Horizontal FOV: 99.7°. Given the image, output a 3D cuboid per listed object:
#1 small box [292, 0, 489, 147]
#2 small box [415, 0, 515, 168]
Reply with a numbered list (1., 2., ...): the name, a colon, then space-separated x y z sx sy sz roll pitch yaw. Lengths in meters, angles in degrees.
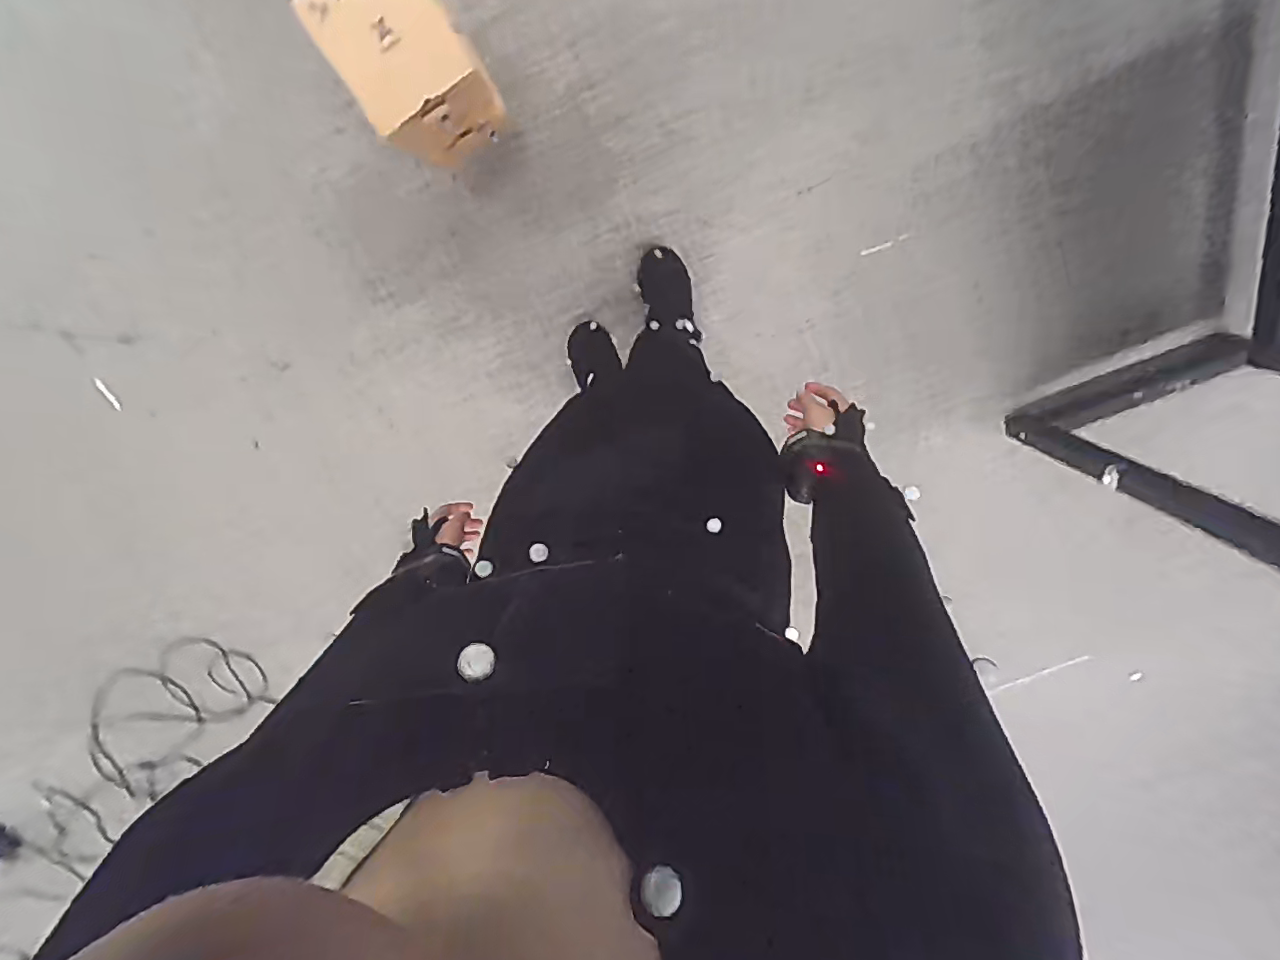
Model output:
1. small box: -0.343 -0.617 0.788 0.168 0.176 0.179 -30 115 8
2. small box: -0.338 -0.672 0.944 0.168 0.176 0.179 -29 113 7
